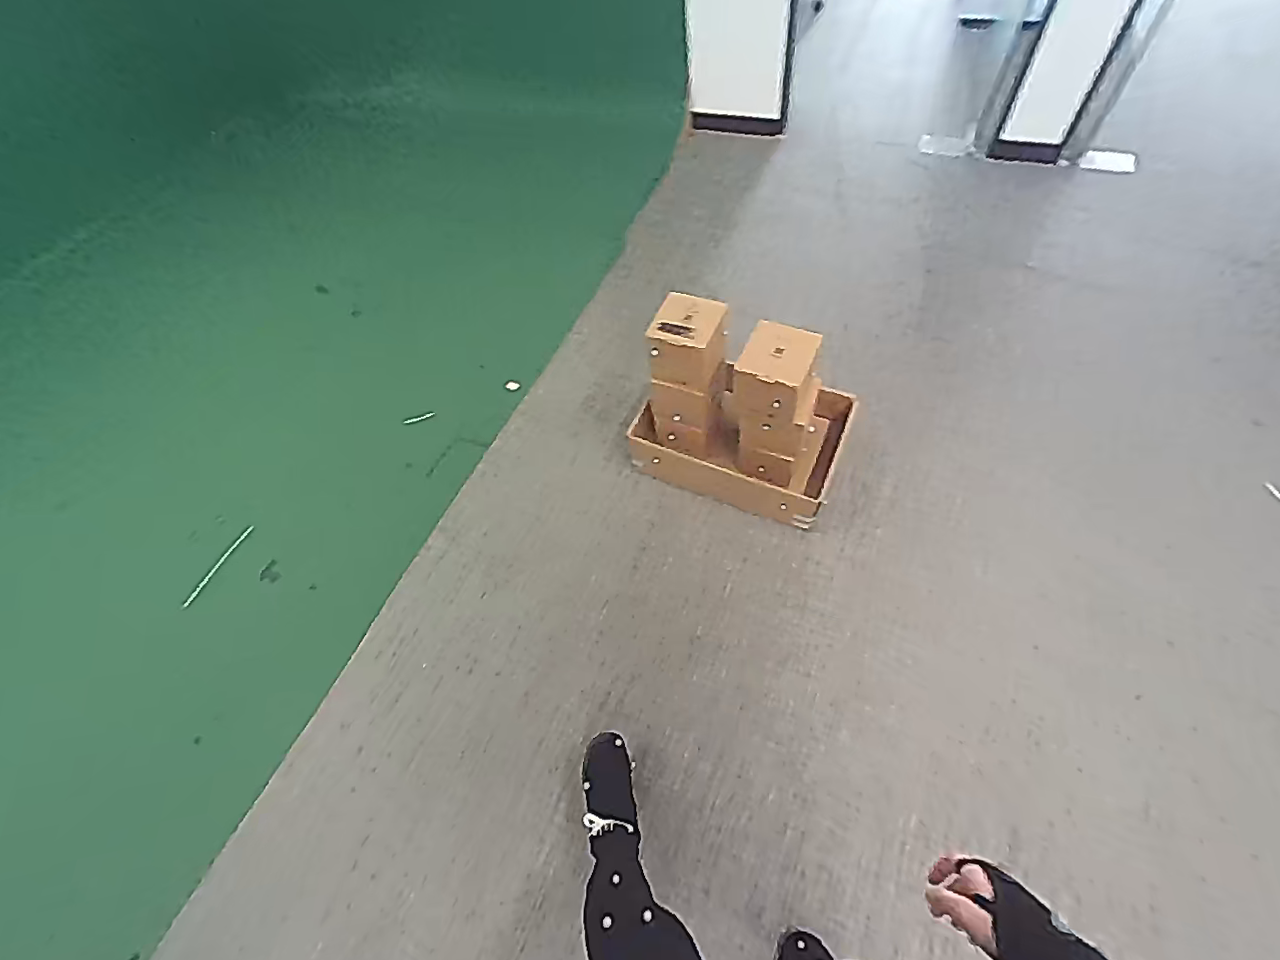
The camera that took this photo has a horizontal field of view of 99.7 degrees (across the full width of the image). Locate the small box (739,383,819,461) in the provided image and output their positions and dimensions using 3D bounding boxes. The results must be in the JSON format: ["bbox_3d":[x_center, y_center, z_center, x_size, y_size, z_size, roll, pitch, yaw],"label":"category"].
[{"bbox_3d":[0.384,-0.174,1.515,0.179,0.176,0.168,17,64,18],"label":"small box"}]

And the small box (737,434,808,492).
[{"bbox_3d":[0.407,-0.090,1.656,0.168,0.176,0.179,21,64,20],"label":"small box"}]

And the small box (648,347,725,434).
[{"bbox_3d":[0.139,-0.261,1.604,0.179,0.176,0.168,19,63,16],"label":"small box"}]

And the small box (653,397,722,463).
[{"bbox_3d":[0.159,-0.180,1.747,0.168,0.176,0.179,19,65,17],"label":"small box"}]

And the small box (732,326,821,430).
[{"bbox_3d":[0.344,-0.256,1.379,0.168,0.176,0.179,22,65,20],"label":"small box"}]
